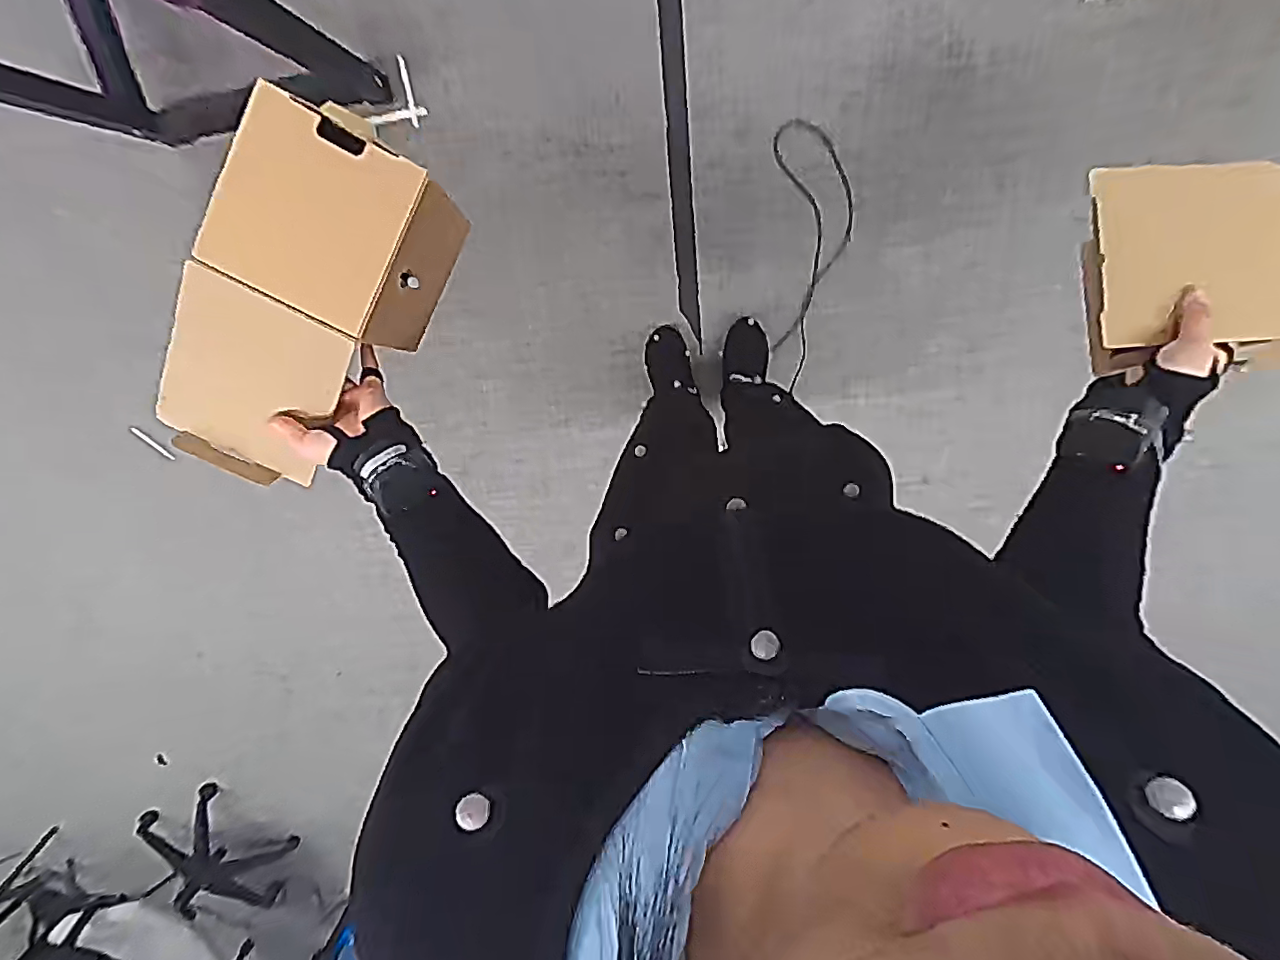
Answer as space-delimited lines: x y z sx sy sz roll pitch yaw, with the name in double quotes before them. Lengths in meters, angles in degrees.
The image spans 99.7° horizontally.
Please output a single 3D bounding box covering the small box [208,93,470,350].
"small box" -0.309 -0.259 0.597 0.168 0.176 0.179 27 96 -7
